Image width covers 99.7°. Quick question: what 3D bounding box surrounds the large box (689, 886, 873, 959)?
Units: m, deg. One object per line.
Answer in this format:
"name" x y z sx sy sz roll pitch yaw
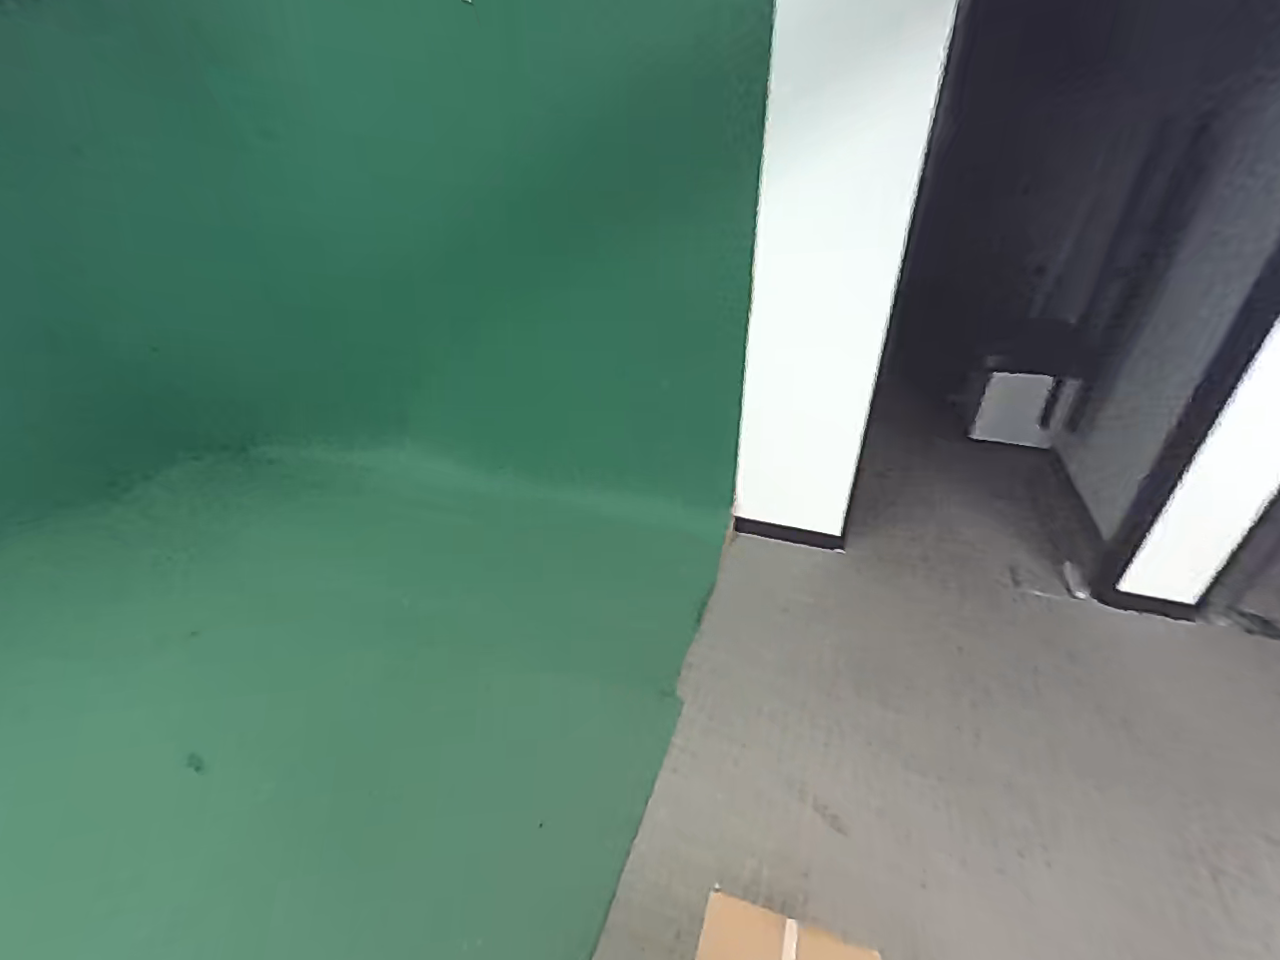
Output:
"large box" 0.214 1.041 0.931 0.320 0.320 0.408 10 33 18
